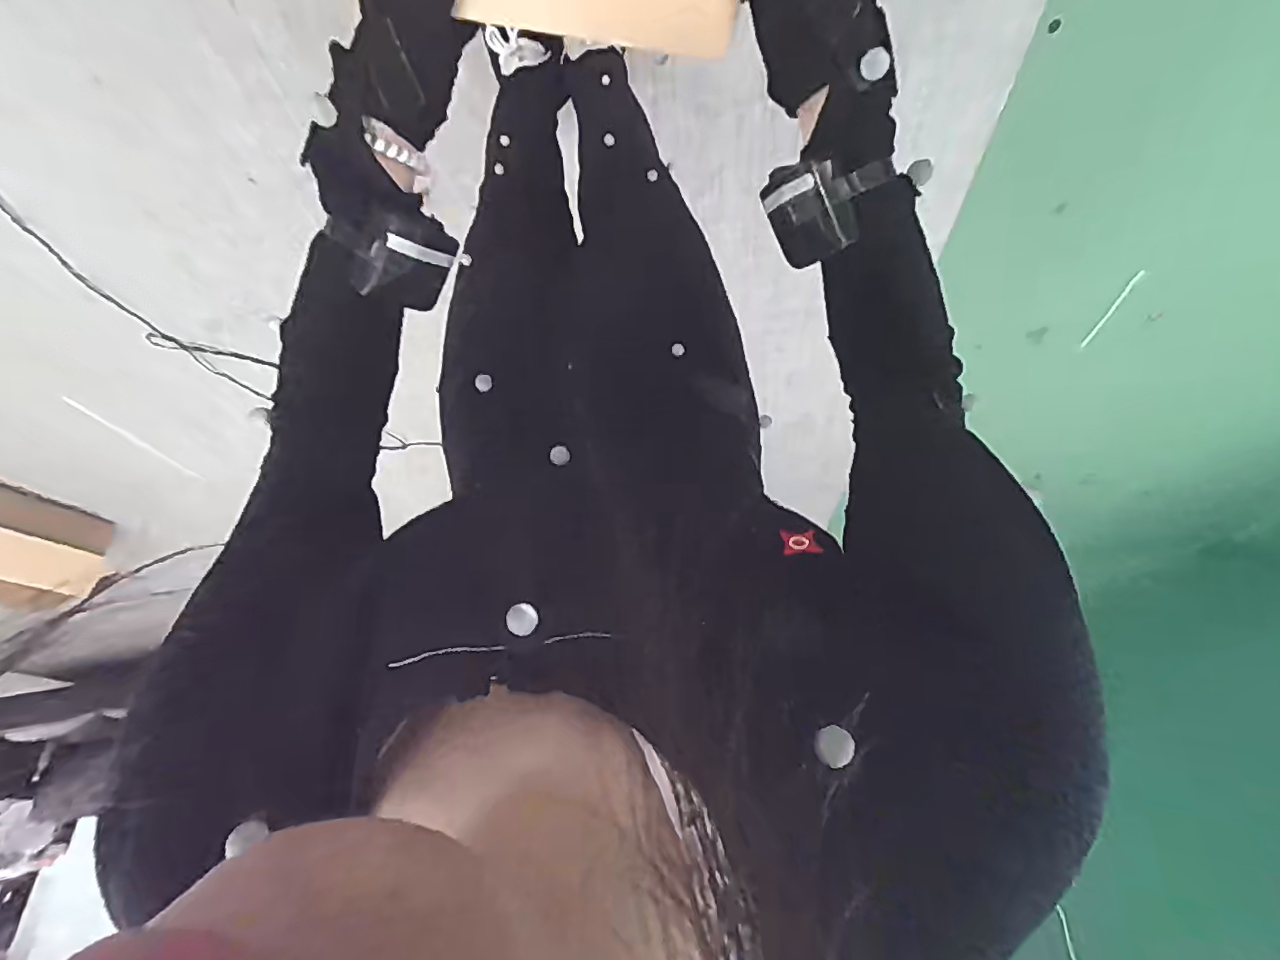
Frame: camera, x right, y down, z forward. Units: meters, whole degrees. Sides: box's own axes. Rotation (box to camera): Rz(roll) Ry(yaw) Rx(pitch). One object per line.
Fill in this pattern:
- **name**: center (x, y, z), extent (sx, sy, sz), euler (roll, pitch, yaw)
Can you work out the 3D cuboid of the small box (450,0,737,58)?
- **small box**: center (-0.022, -0.388, 0.314), extent (0.179, 0.176, 0.168), euler (2, 147, -11)
